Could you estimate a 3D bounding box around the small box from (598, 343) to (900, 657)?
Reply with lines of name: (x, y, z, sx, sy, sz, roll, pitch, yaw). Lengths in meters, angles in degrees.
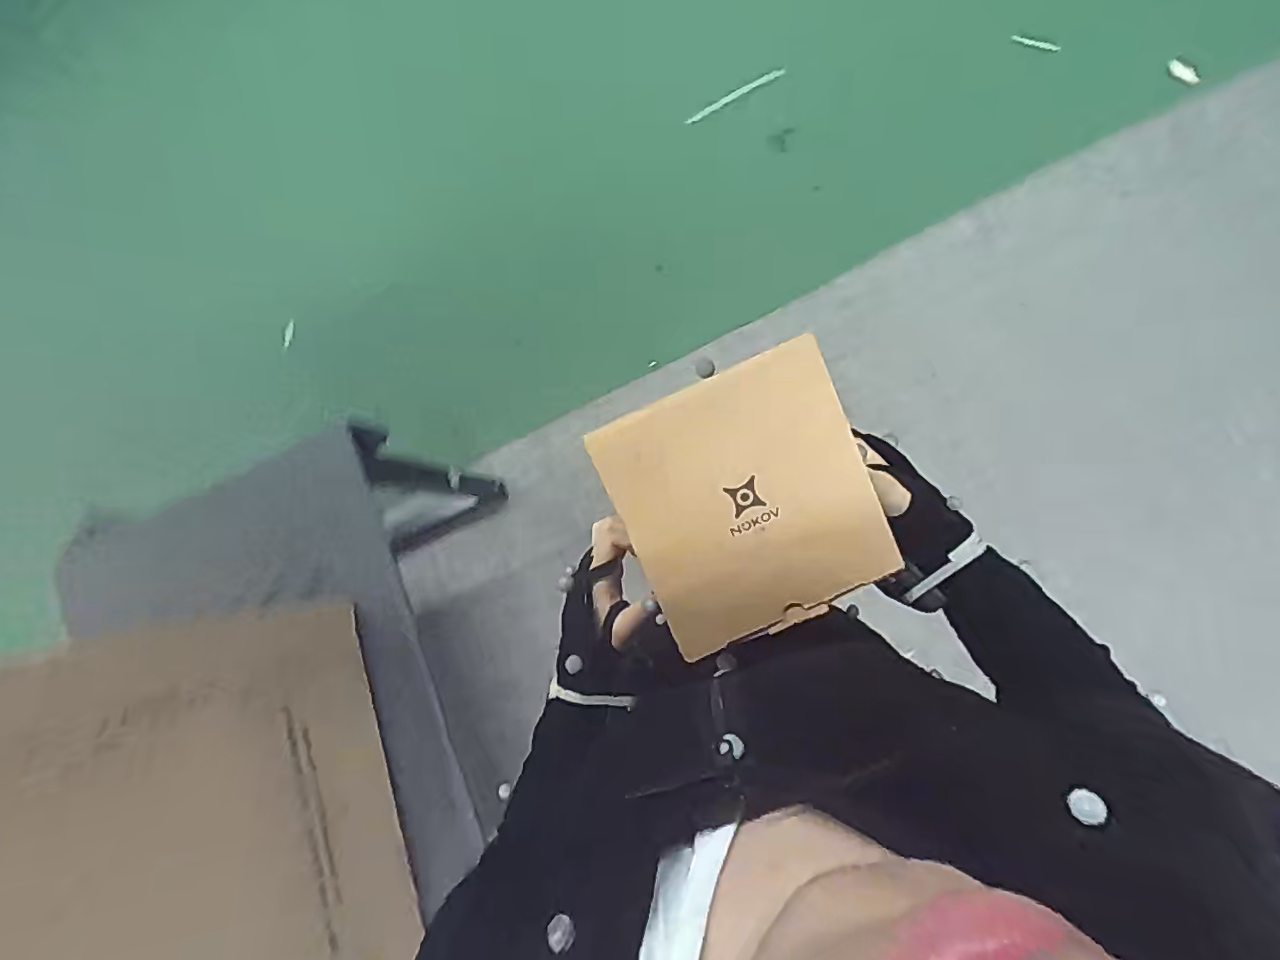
small box: (0.074, 0.007, 0.448, 0.168, 0.176, 0.179, -23, 98, 2)
